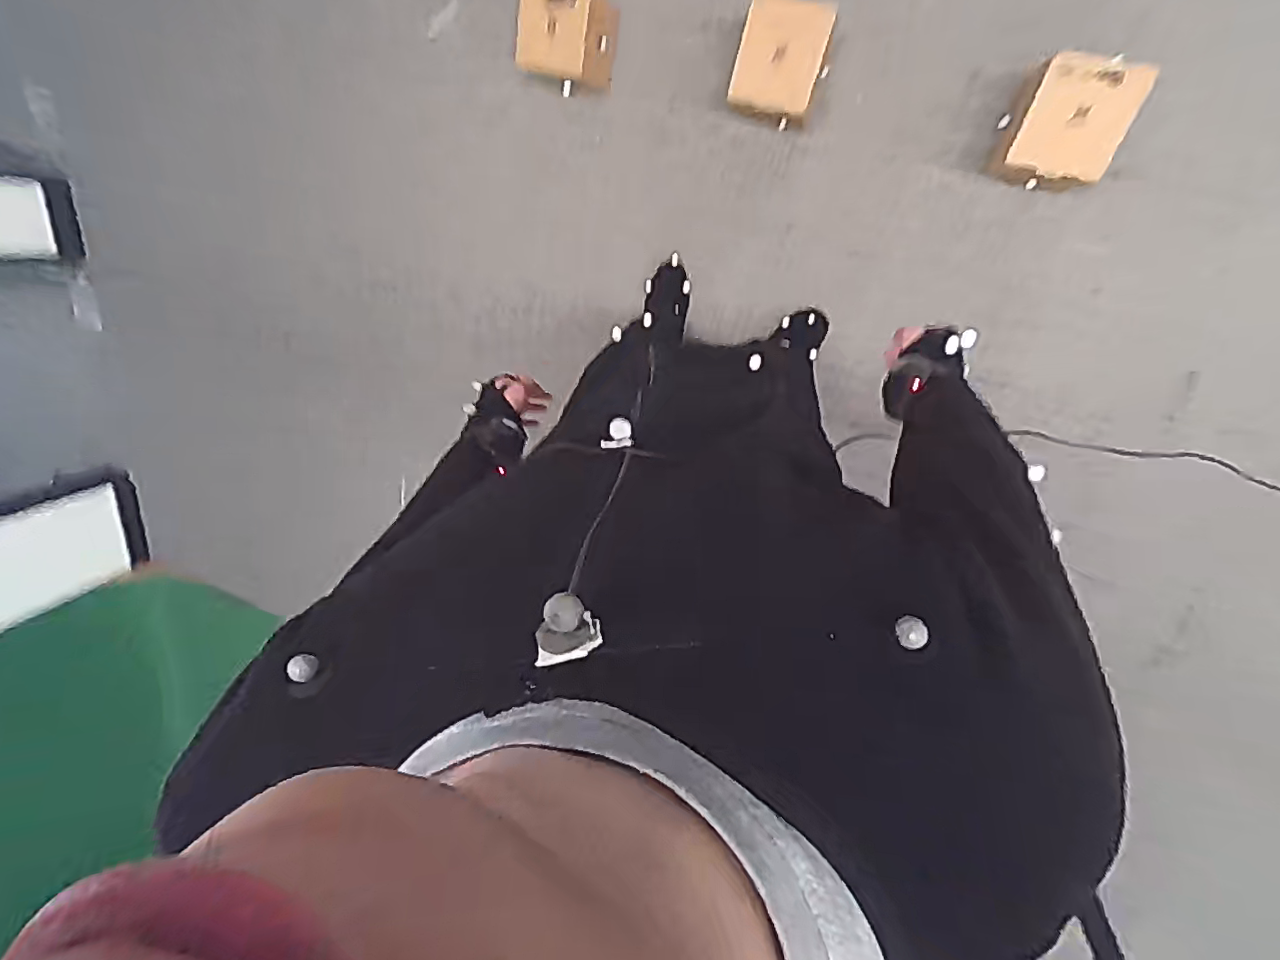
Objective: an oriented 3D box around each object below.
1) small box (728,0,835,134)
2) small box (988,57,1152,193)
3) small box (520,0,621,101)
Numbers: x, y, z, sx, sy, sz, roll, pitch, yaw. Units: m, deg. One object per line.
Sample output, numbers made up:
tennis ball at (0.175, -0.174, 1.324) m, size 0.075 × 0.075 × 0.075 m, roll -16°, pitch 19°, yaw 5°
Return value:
small box at (0.301, -0.858, 1.141) m, size 0.168 × 0.176 × 0.179 m, roll 19°, pitch 115°, yaw 10°
small box at (0.804, -0.670, 1.040) m, size 0.168 × 0.176 × 0.179 m, roll 21°, pitch 117°, yaw 11°
small box at (-0.154, -1.002, 1.236) m, size 0.168 × 0.176 × 0.179 m, roll 18°, pitch 117°, yaw 12°
